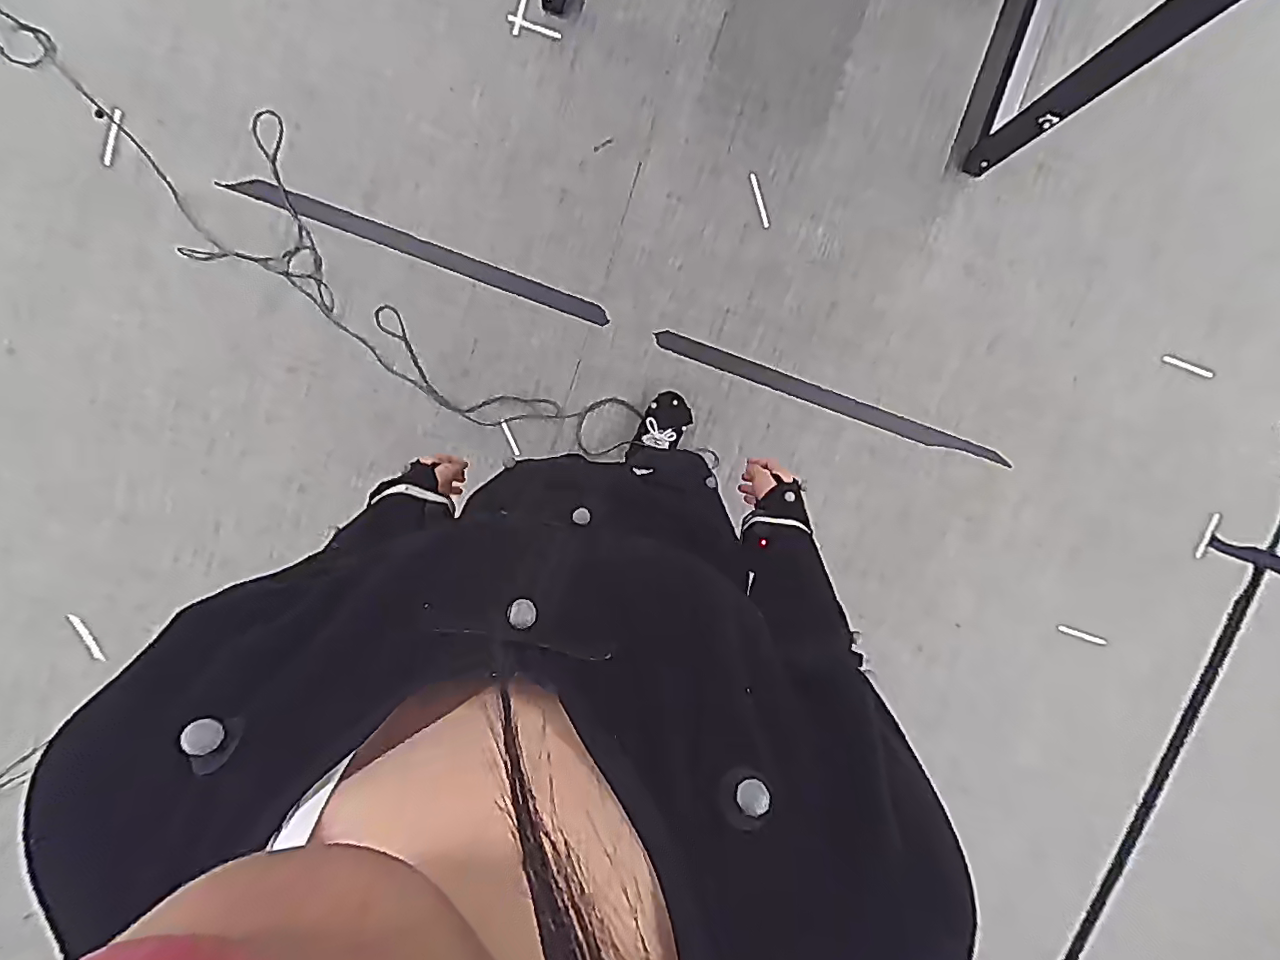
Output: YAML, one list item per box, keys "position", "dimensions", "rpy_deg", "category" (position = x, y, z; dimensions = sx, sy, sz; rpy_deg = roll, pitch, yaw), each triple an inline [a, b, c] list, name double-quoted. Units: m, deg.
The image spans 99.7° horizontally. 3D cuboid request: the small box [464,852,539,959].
- position: [-0.387, 1.212, 1.539]
  dimensions: [0.168, 0.176, 0.179]
  rpy_deg: [9, 97, -4]
  category: "small box"
